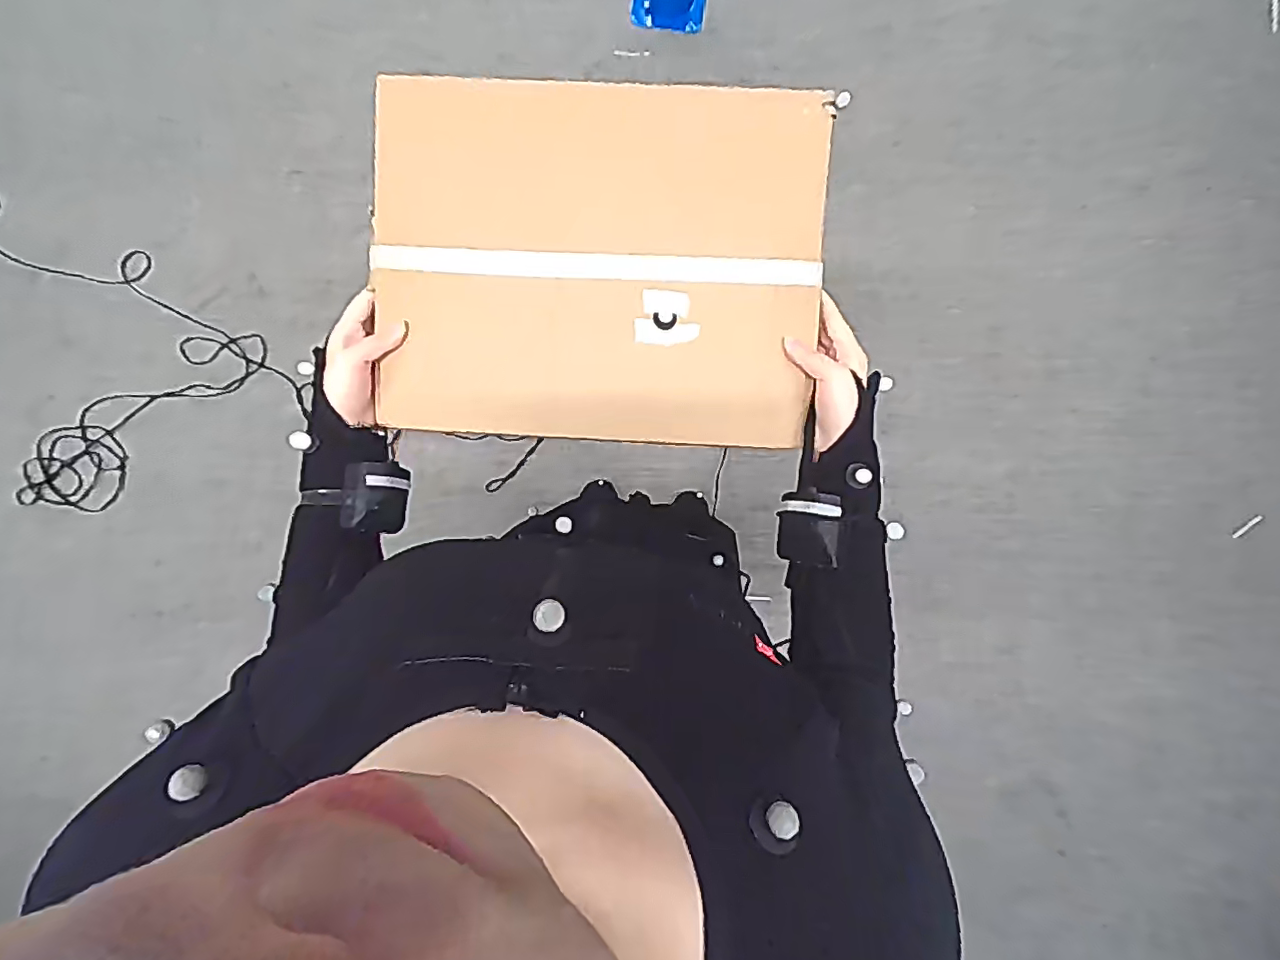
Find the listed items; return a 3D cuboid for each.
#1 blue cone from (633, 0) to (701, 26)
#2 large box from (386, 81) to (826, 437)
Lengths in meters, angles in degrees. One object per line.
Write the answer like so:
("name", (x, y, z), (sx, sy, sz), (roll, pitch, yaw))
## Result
("blue cone", (0.078, -1.366, 1.342), (0.193, 0.380, 0.192), (9, 90, 0))
("large box", (-0.037, -0.213, 0.646), (0.408, 0.320, 0.320), (3, 96, 0))
